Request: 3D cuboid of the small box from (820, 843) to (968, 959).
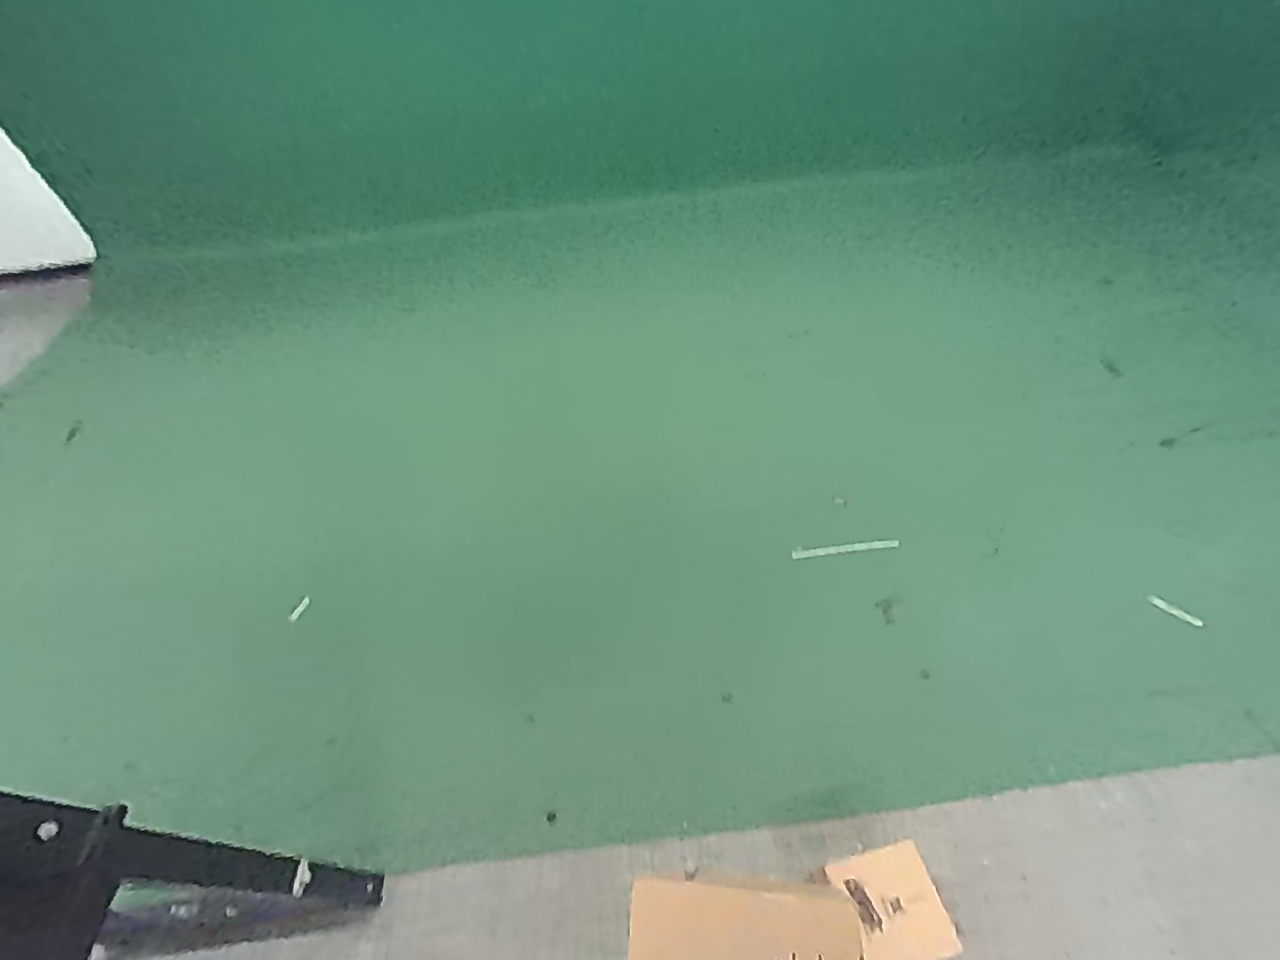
[{"bbox_3d":[0.447,0.793,0.991,0.179,0.176,0.168,-12,50,-6],"label":"small box"}]
